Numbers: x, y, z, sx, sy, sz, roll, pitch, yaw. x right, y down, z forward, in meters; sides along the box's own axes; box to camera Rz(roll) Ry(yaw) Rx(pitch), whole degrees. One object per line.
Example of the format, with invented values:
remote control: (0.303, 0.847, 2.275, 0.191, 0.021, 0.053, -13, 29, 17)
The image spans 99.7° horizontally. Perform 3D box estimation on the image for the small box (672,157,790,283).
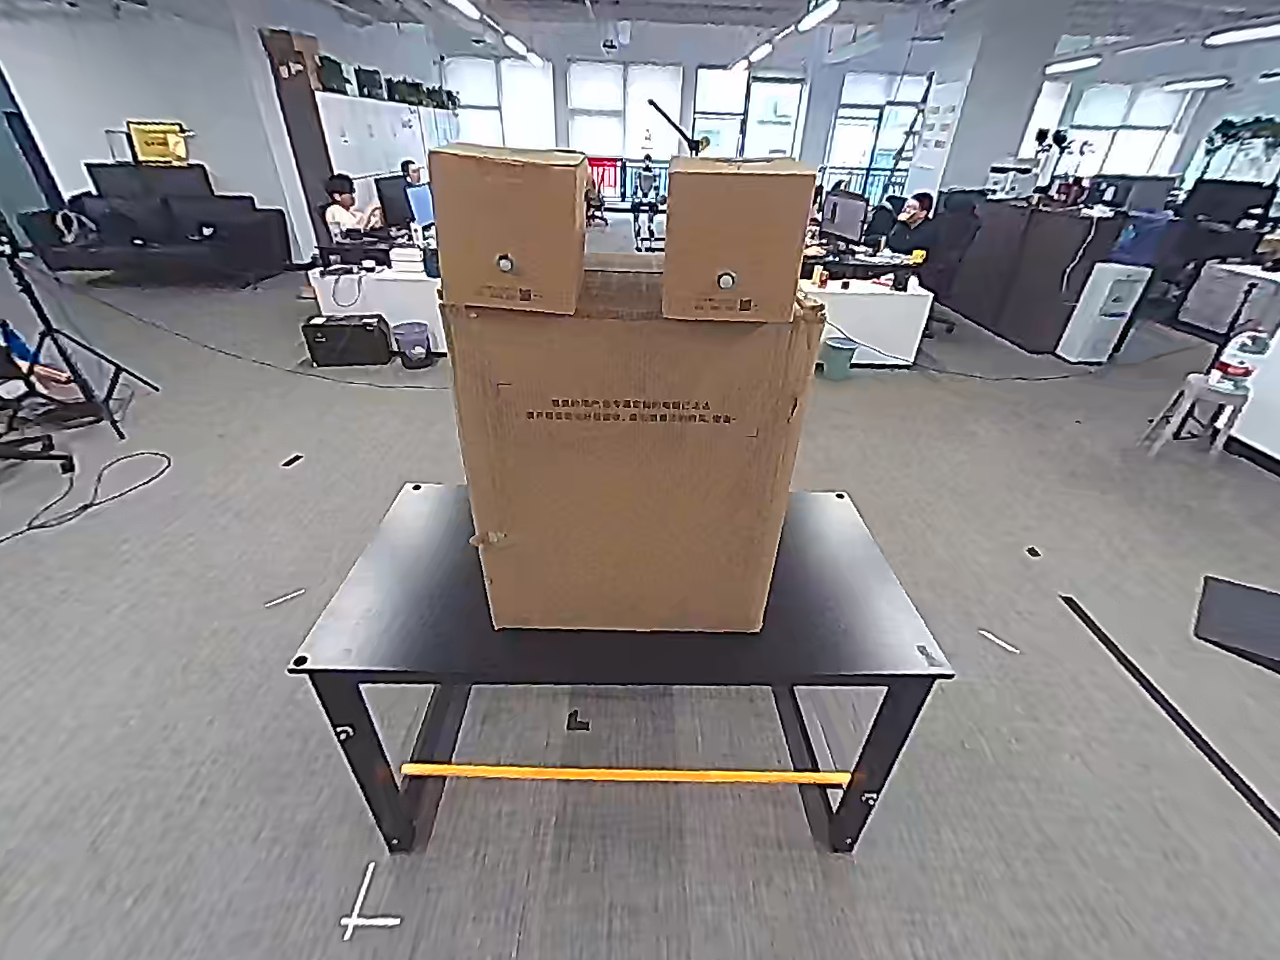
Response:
small box: (0.137, -0.426, 0.881, 0.168, 0.176, 0.179, 0, 31, 2)
